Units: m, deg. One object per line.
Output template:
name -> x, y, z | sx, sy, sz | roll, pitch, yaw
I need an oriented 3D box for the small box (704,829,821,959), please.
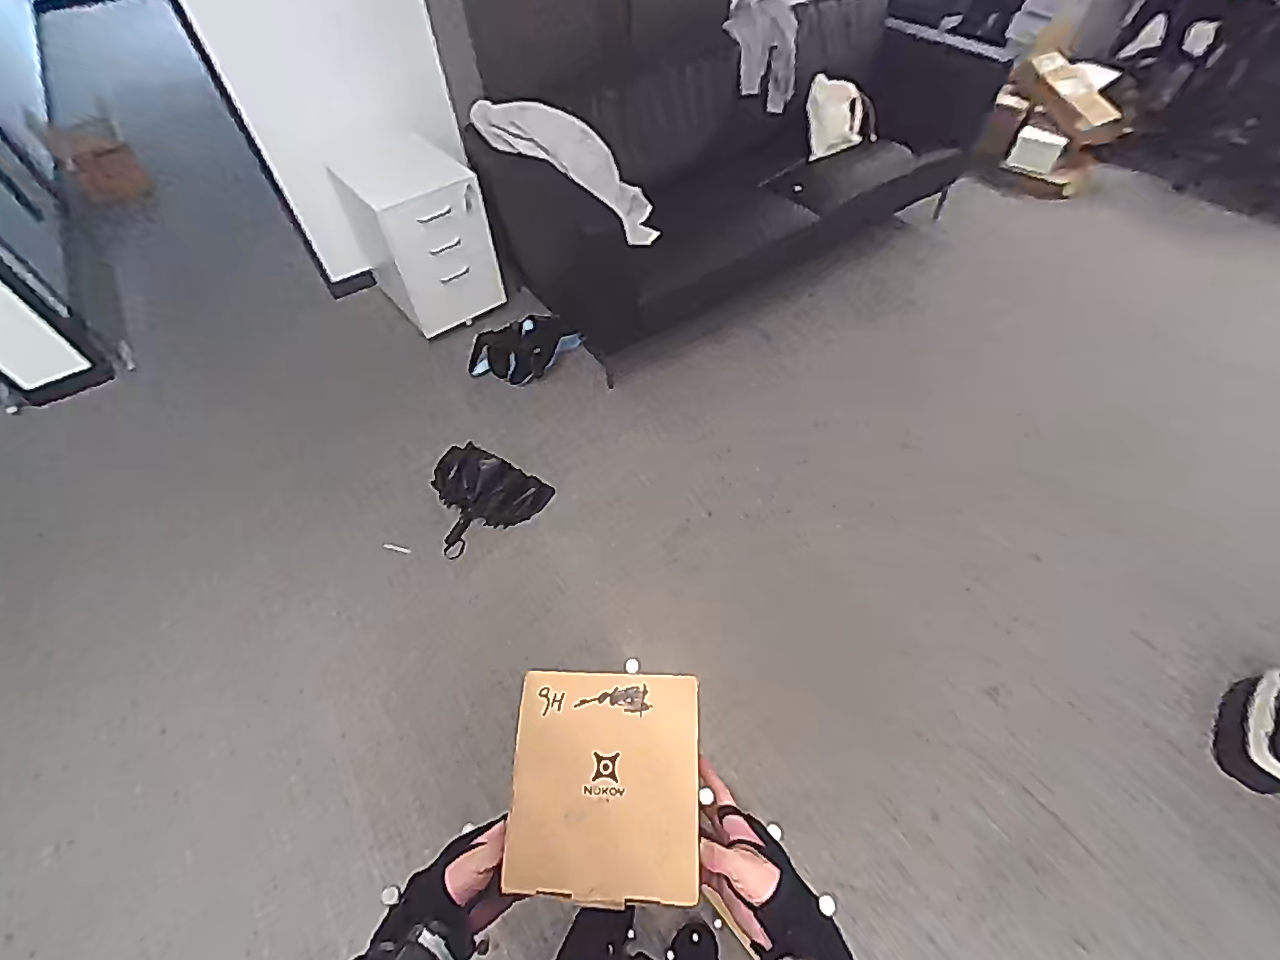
small box -> 0.251, 0.887, 1.156 | 0.179, 0.176, 0.168 | -36, 59, -21
